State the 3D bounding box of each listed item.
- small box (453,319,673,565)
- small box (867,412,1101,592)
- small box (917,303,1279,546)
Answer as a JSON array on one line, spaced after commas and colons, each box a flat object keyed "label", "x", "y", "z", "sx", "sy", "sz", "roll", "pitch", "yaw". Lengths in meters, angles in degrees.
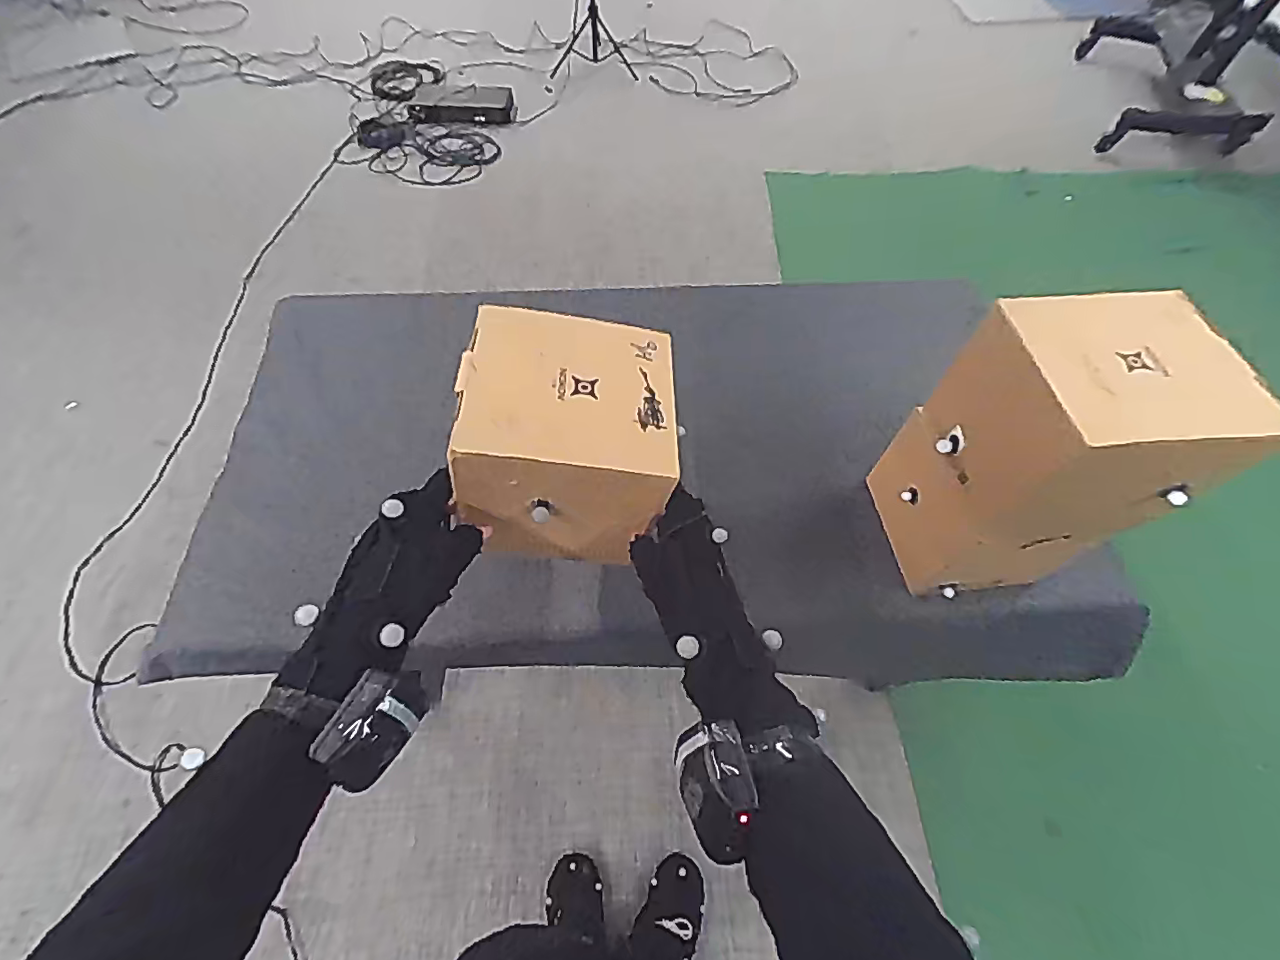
[{"label": "small box", "x": -0.072, "y": -0.028, "z": 0.532, "sx": 0.179, "sy": 0.176, "sz": 0.168, "roll": 7, "pitch": 55, "yaw": -10}, {"label": "small box", "x": 0.410, "y": 0.029, "z": 0.668, "sx": 0.168, "sy": 0.176, "sz": 0.179, "roll": -6, "pitch": 58, "yaw": -3}, {"label": "small box", "x": 0.410, "y": -0.047, "z": 0.526, "sx": 0.179, "sy": 0.176, "sz": 0.168, "roll": -5, "pitch": 57, "yaw": -1}]
